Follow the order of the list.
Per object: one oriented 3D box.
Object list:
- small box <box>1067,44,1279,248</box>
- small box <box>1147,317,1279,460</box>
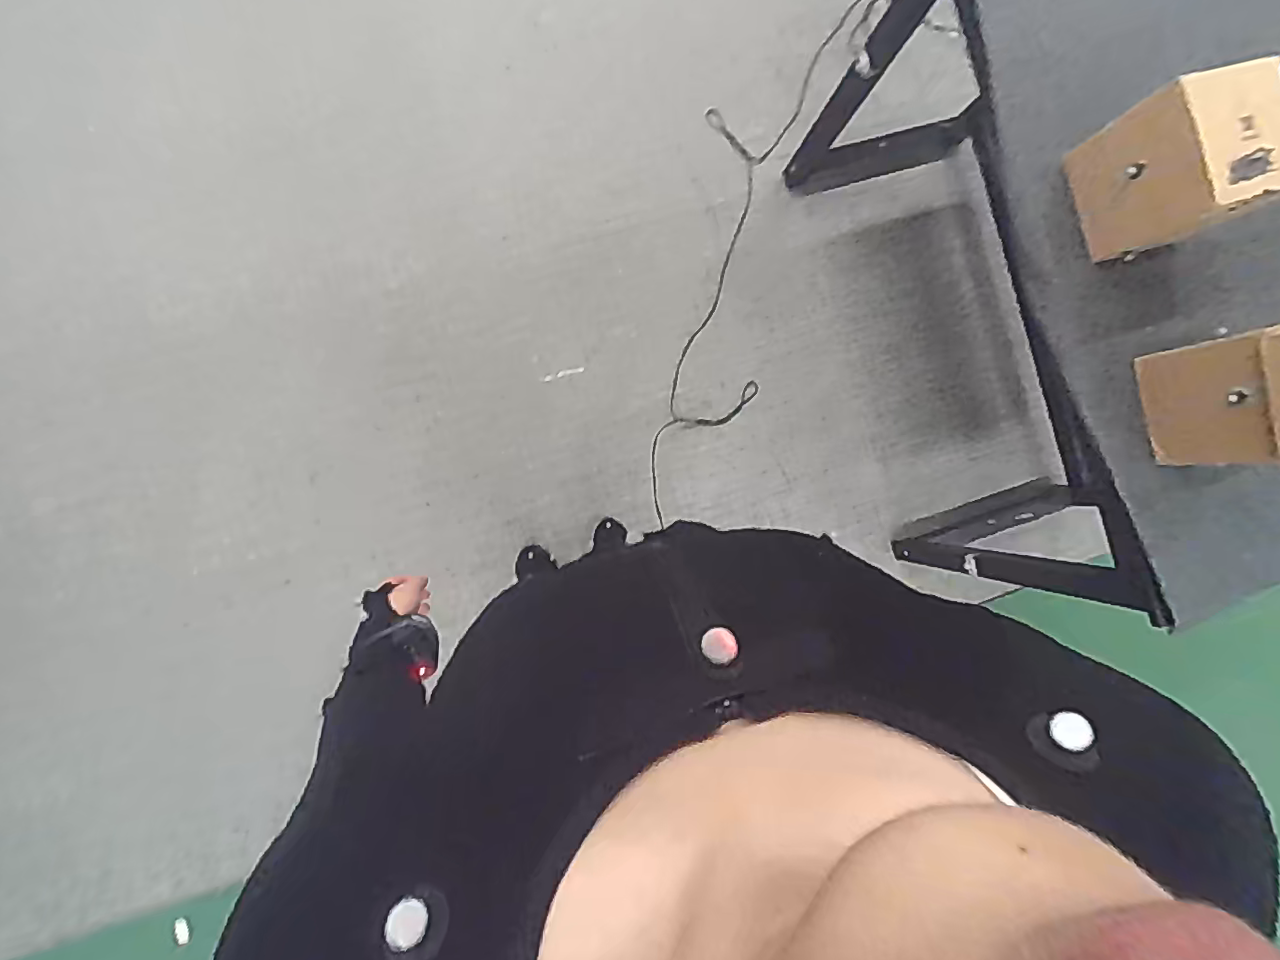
[{"bbox_3d":[0.762,-0.451,0.762,0.168,0.176,0.179,-17,89,-8],"label":"small box"},{"bbox_3d":[0.881,-0.133,0.768,0.168,0.176,0.179,-14,91,-6],"label":"small box"}]
